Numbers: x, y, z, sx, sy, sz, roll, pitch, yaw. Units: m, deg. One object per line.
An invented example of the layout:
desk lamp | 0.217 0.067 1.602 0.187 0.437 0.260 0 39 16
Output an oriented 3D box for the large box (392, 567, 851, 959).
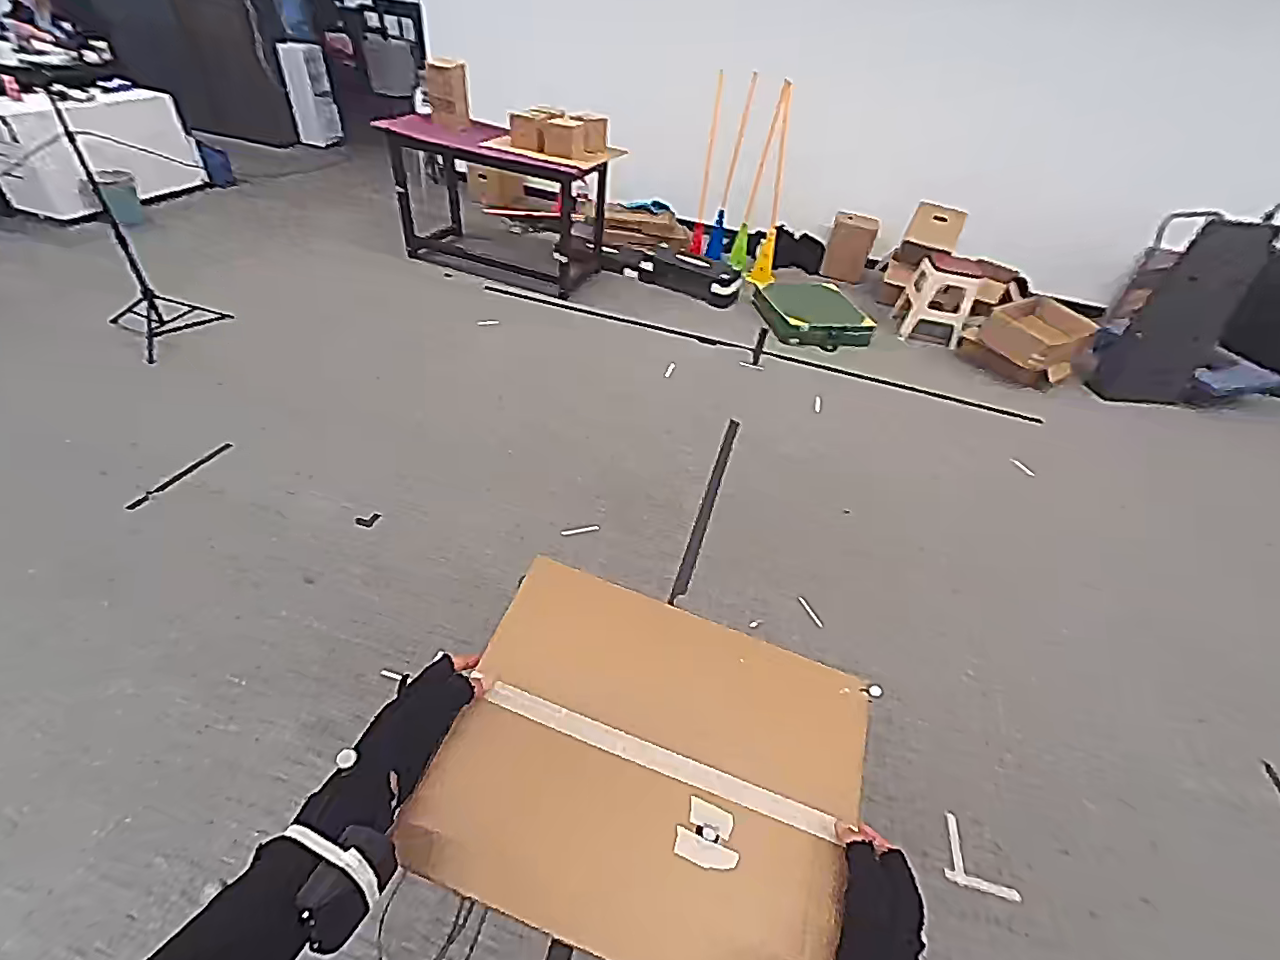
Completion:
large box | -0.011 0.365 0.669 0.408 0.320 0.320 20 55 5
